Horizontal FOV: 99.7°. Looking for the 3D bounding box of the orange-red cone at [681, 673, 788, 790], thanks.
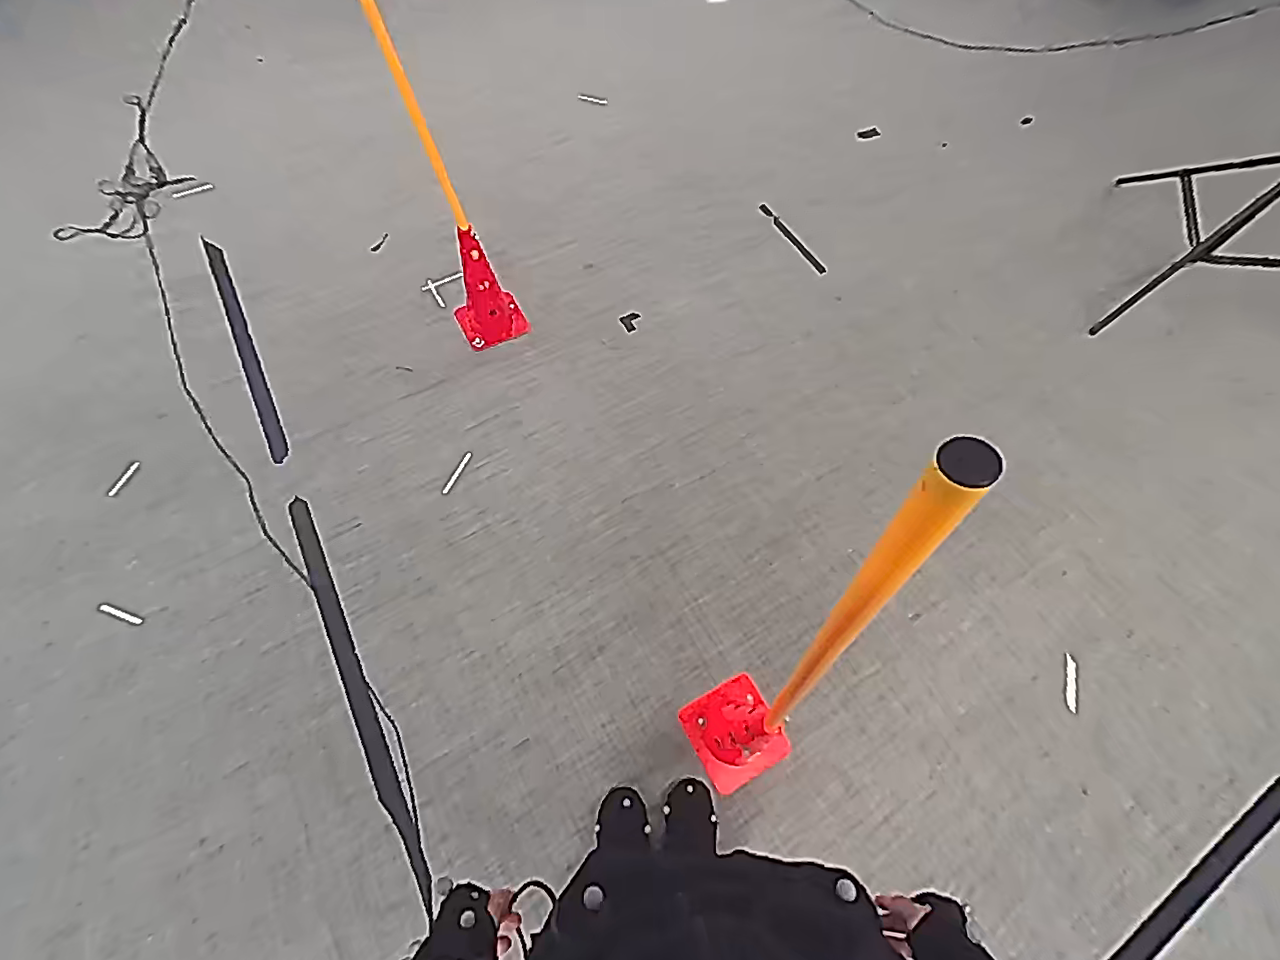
[{"bbox_3d":[0.220,0.494,1.083,0.198,0.360,0.199,-24,67,-13],"label":"orange-red cone"}]
